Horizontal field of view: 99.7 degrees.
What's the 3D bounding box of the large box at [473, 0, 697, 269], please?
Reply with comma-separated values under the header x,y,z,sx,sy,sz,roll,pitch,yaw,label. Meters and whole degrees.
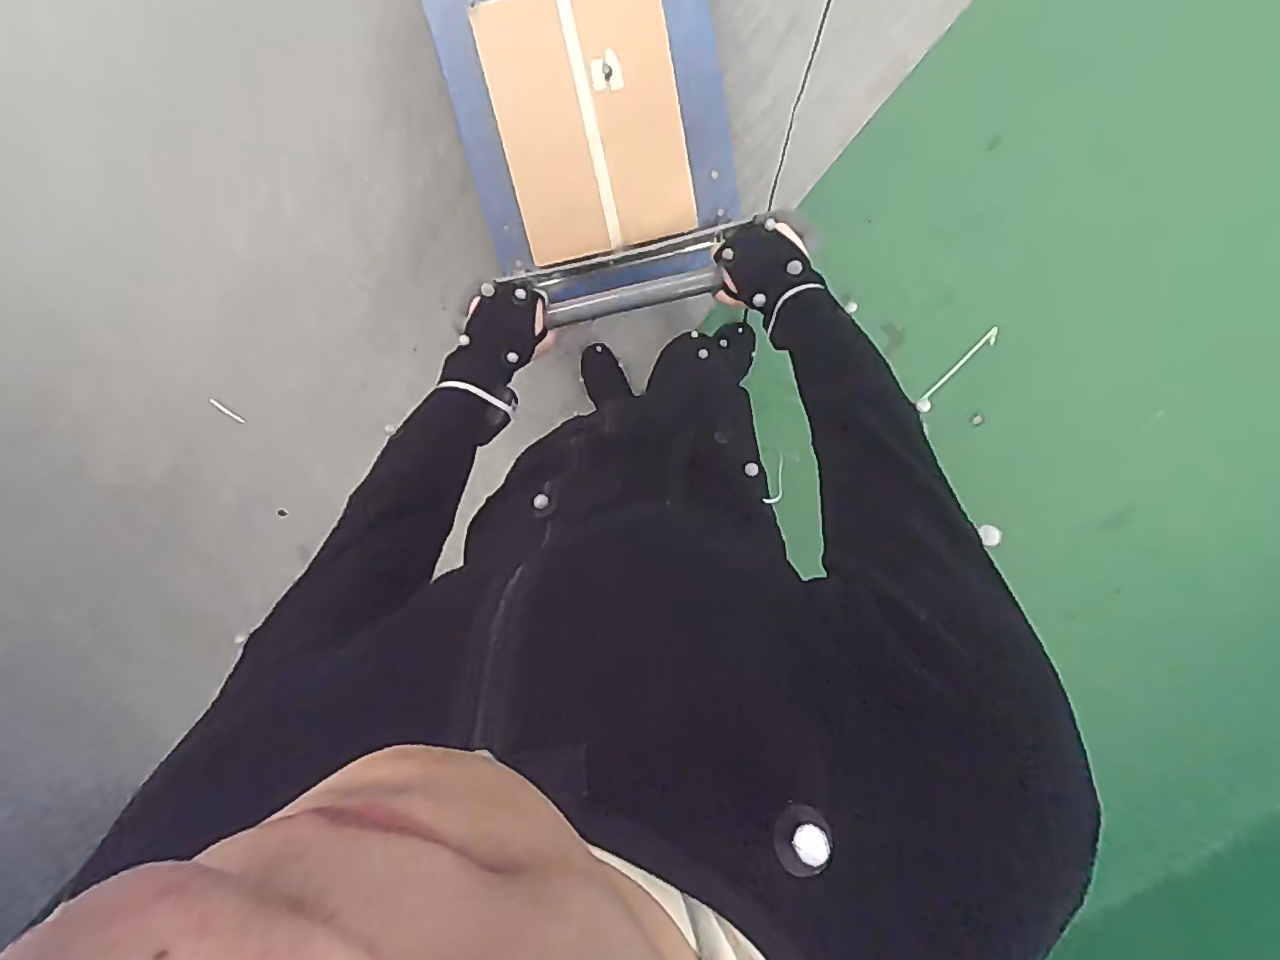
x,y,z,sx,sy,sz,roll,pitch,yaw,label
-0.085,-0.670,1.089,0.320,0.320,0.408,-12,109,3,large box
